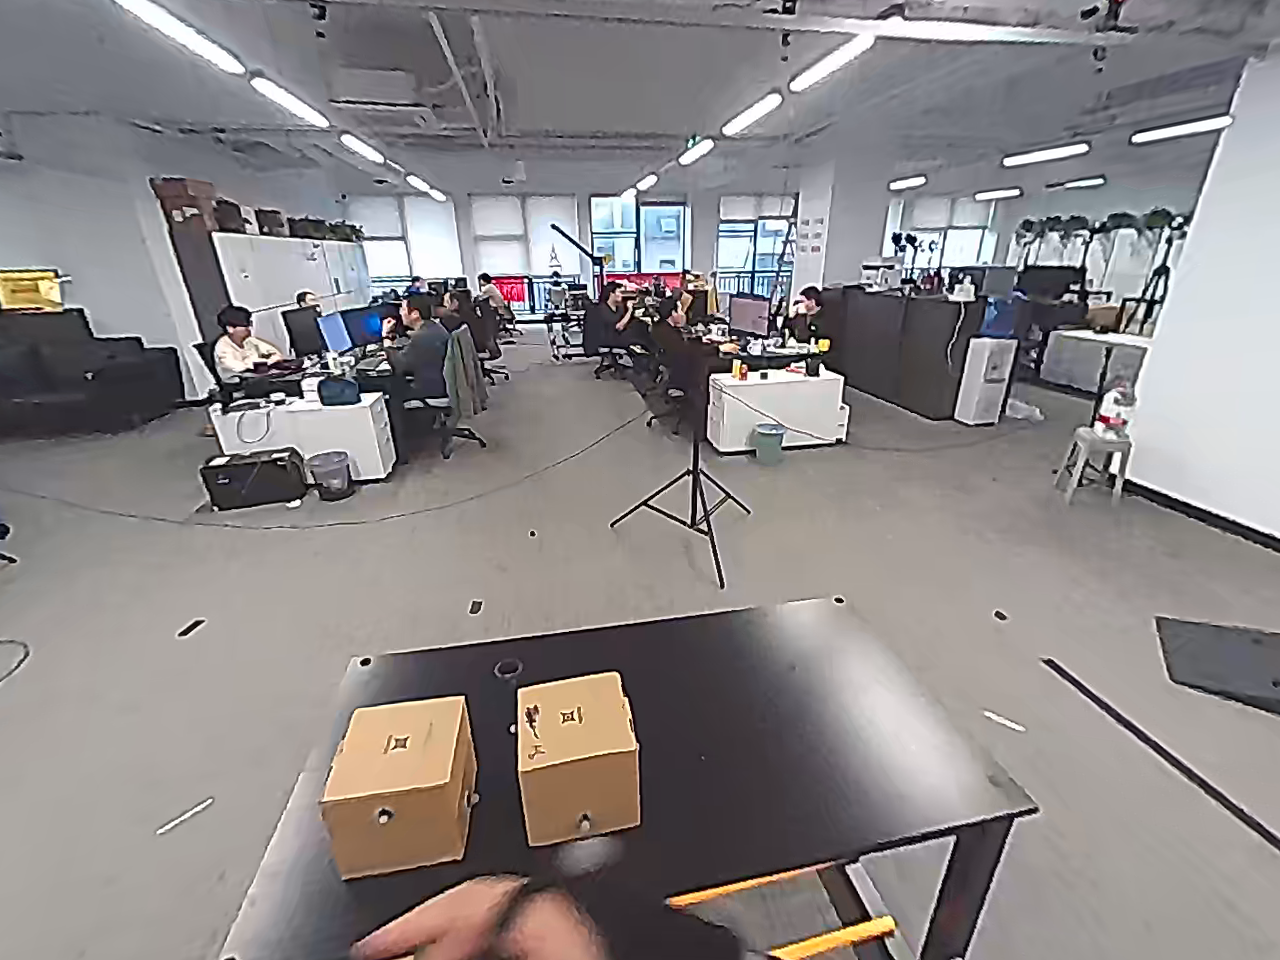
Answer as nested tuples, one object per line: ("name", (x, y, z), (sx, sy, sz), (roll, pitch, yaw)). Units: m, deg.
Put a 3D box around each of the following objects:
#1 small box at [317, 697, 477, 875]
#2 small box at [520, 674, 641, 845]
("small box", (-0.359, 0.470, 0.837), (0.179, 0.176, 0.168), (-4, 24, -9))
("small box", (-0.100, 0.447, 0.877), (0.179, 0.176, 0.168), (-5, 23, -11))
